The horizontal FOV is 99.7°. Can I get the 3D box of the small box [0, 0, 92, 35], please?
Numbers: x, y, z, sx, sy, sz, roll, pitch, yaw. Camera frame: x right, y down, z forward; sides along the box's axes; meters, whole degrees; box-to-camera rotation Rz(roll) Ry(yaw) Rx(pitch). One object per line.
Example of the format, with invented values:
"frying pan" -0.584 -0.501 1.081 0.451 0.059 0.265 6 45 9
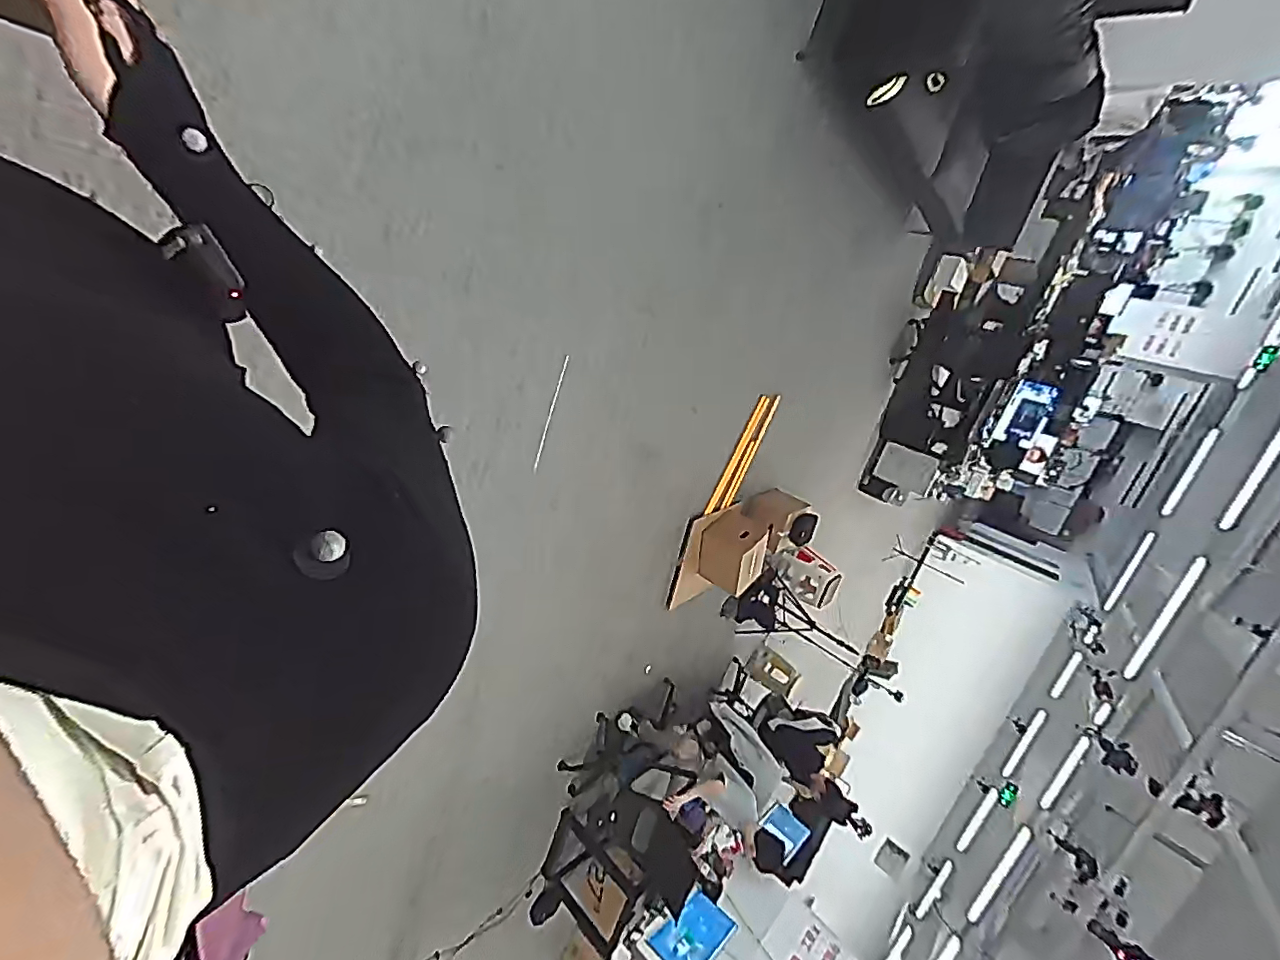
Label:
"small box" -0.495 -0.460 0.366 0.168 0.176 0.179 -4 109 -48
